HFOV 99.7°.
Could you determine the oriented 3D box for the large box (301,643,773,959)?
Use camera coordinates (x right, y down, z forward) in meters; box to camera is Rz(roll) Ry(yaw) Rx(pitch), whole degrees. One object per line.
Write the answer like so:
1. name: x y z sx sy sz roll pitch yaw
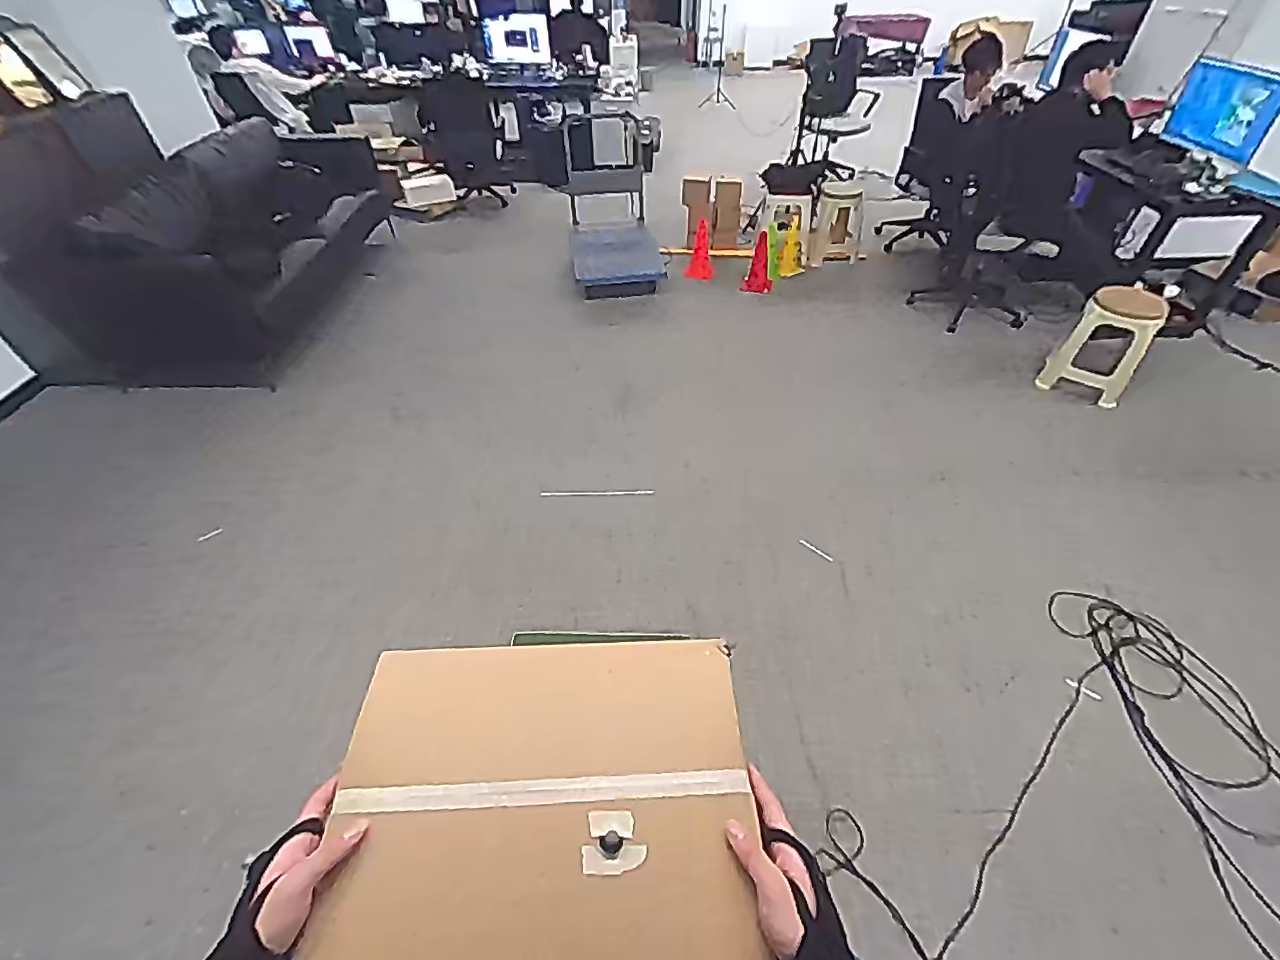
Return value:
1. large box: -0.096 0.418 0.648 0.408 0.320 0.320 -1 46 -2
